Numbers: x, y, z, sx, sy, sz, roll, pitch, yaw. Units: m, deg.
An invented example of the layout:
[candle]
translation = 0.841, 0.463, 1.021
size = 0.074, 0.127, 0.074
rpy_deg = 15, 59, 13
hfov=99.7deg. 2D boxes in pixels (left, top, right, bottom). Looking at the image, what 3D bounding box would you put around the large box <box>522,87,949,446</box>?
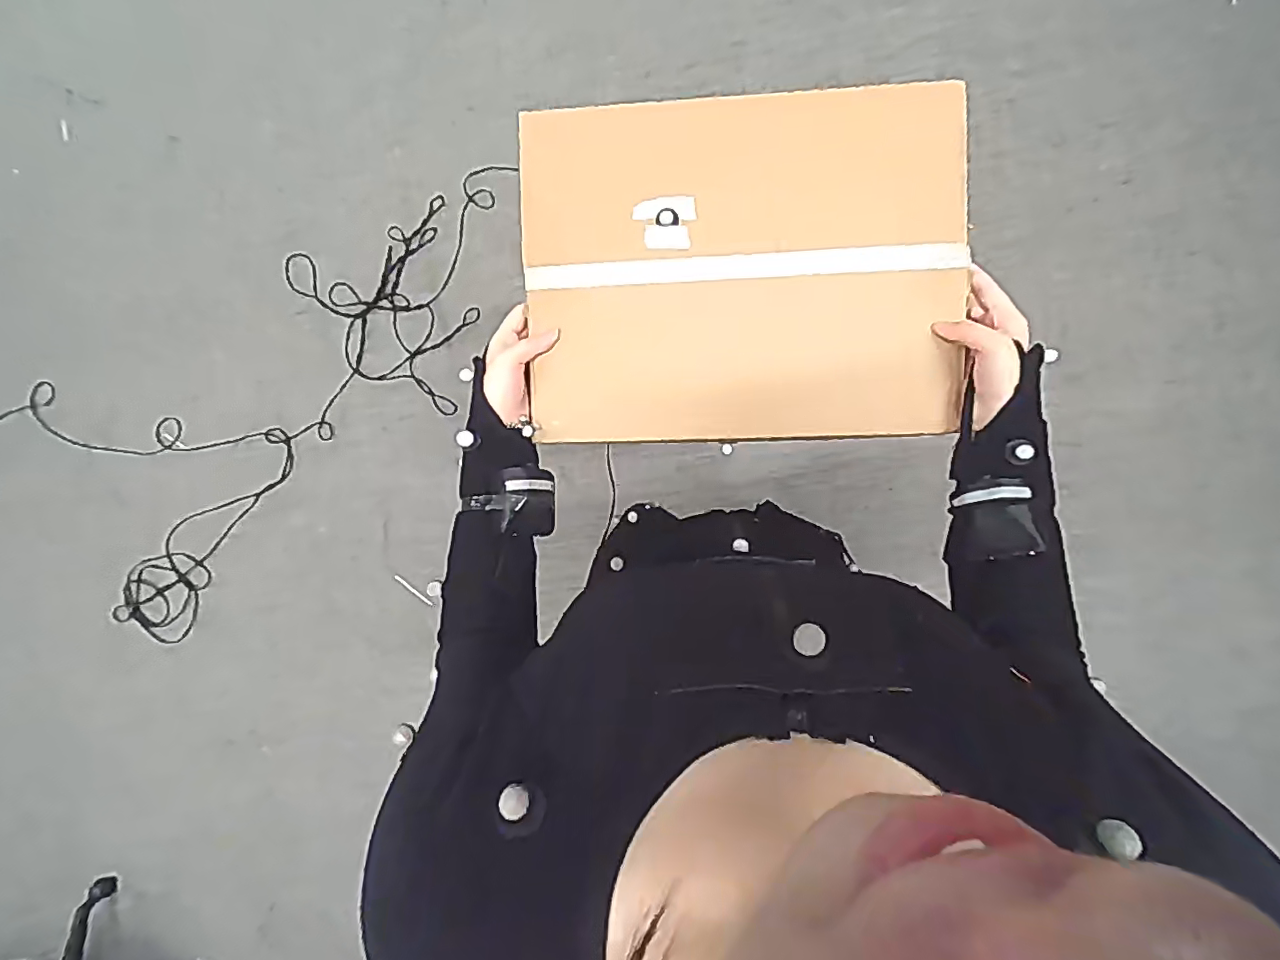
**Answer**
[large box]
translation = 0.104, -0.207, 0.665
size = 0.408, 0.320, 0.320
rpy_deg = -2, 93, 6
